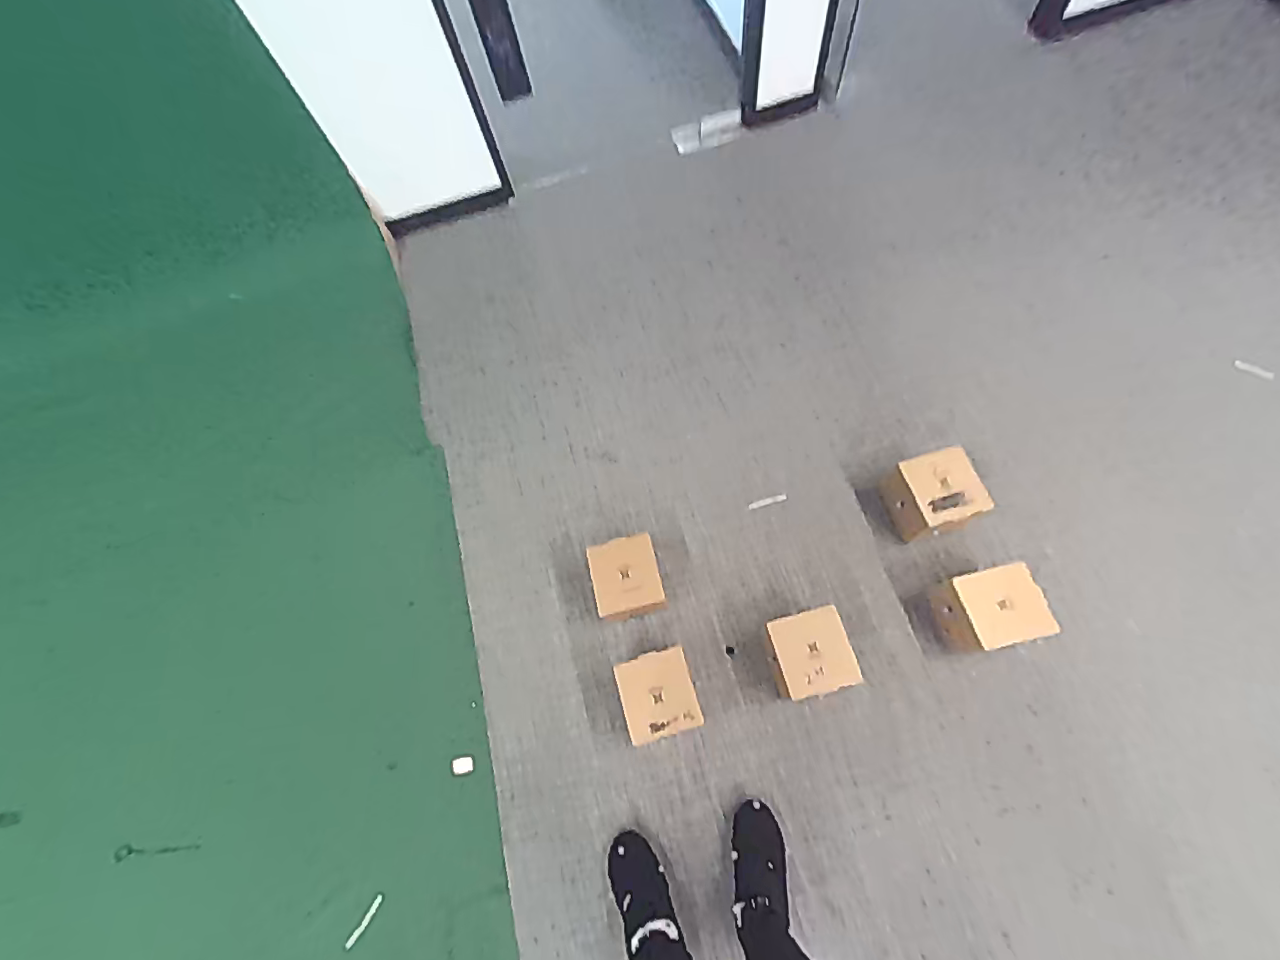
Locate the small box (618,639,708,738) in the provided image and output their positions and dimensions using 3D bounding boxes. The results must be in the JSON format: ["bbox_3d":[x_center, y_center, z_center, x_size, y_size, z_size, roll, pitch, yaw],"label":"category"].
[{"bbox_3d":[0.056,0.492,1.270,0.168,0.176,0.179,-17,66,1],"label":"small box"}]

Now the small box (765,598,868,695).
[{"bbox_3d":[0.401,0.396,1.267,0.168,0.176,0.179,-16,67,1],"label":"small box"}]

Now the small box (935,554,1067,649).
[{"bbox_3d":[0.822,0.290,1.261,0.179,0.176,0.168,-15,67,0],"label":"small box"}]
